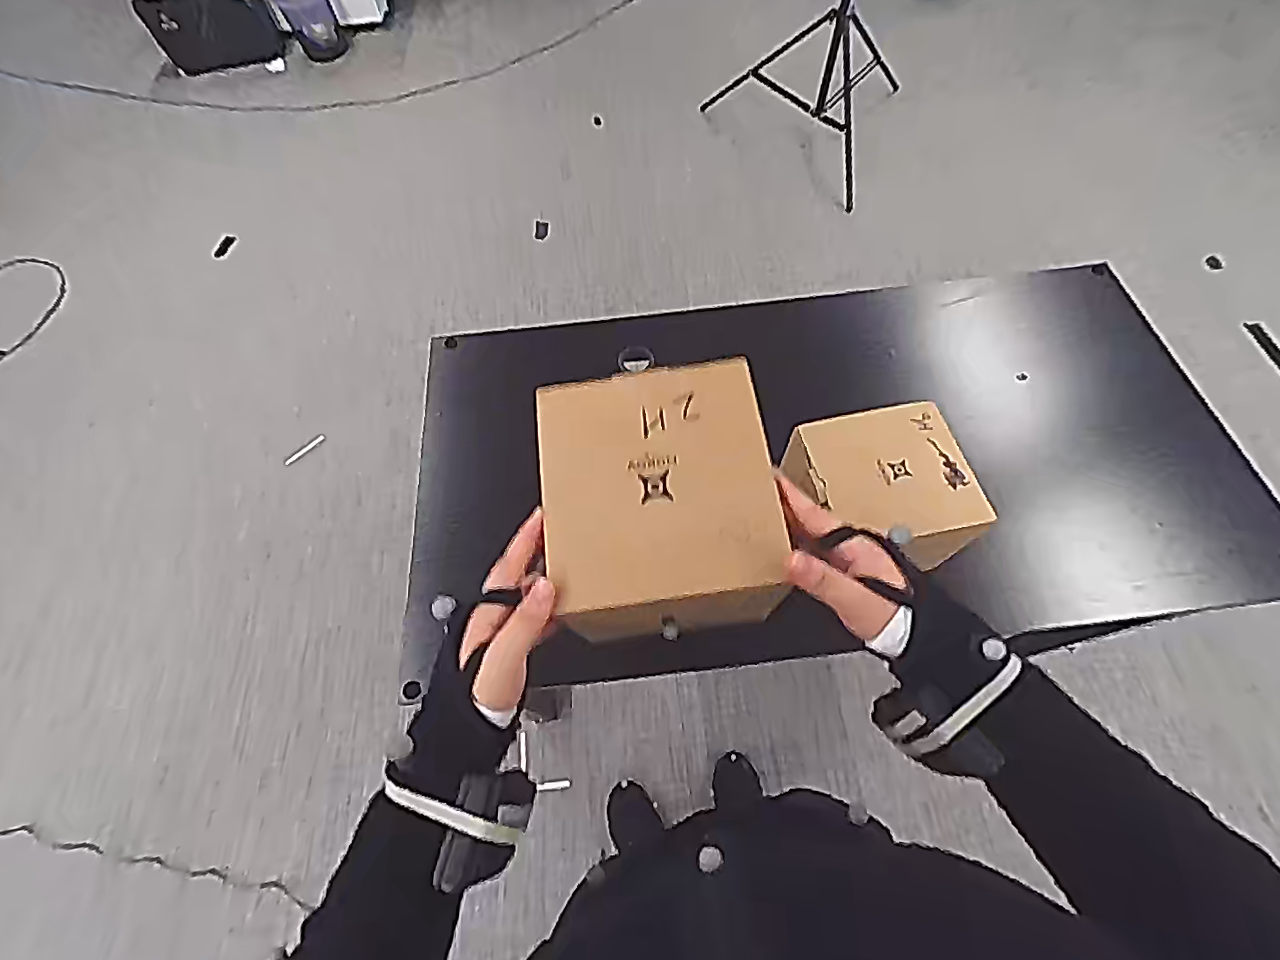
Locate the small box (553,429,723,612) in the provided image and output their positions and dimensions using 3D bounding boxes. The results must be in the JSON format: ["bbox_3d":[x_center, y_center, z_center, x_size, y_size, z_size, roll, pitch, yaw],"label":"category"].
[{"bbox_3d":[-0.004,0.059,0.693,0.179,0.176,0.168,-11,62,-2],"label":"small box"}]

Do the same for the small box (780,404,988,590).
[{"bbox_3d":[0.289,0.030,0.694,0.179,0.176,0.168,-11,62,-2],"label":"small box"}]
